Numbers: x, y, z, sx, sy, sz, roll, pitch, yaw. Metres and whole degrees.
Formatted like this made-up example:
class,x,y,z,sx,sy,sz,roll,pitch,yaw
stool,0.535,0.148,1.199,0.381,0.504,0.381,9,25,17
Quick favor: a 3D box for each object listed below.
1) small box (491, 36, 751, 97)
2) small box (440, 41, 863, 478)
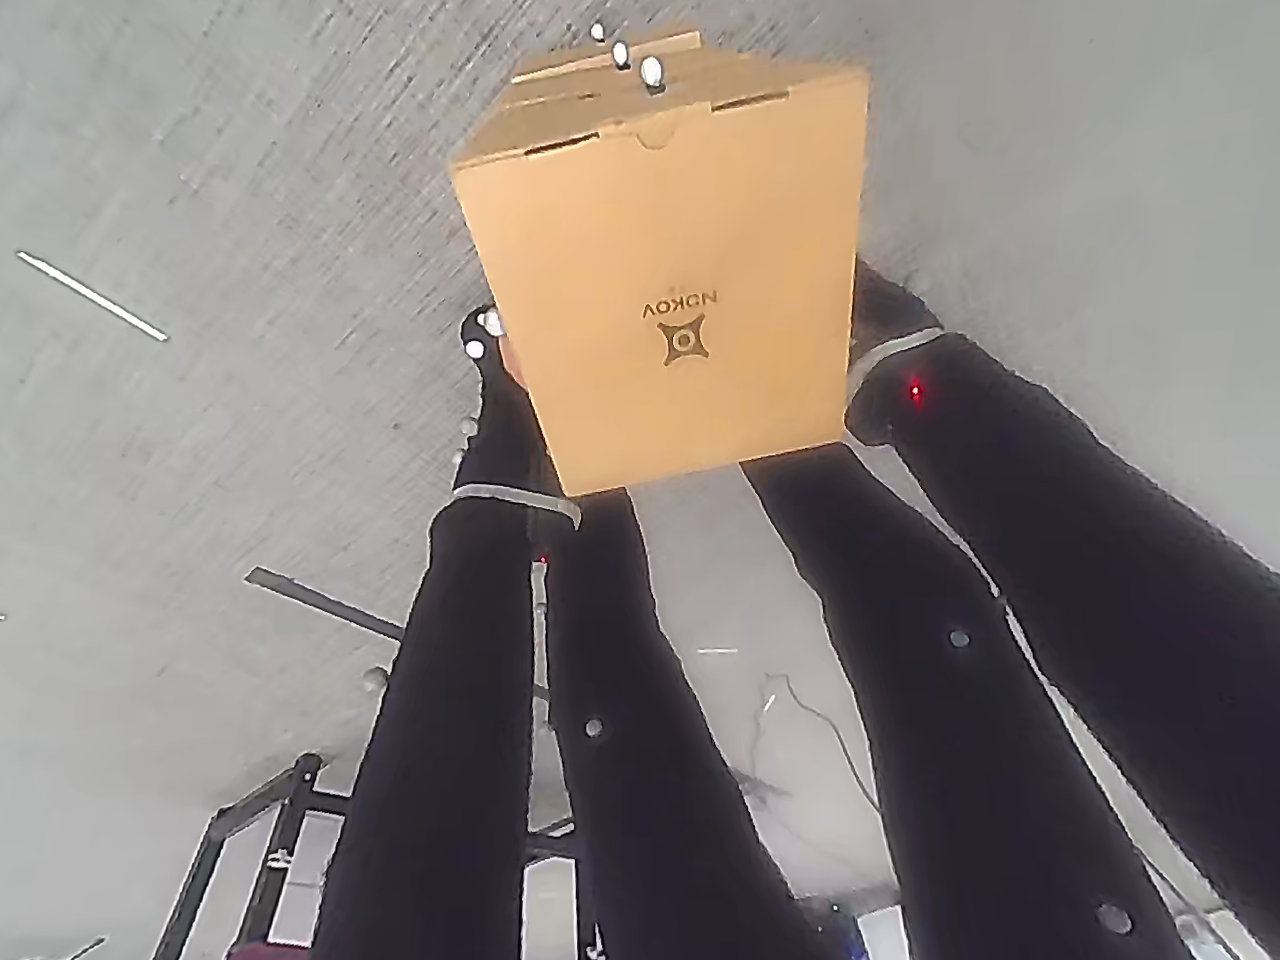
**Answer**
class,x,y,z,sx,sy,sz,roll,pitch,yaw
small box,-0.012,-0.239,0.439,0.168,0.176,0.179,-10,132,0
small box,0.008,-0.130,0.318,0.168,0.176,0.179,-11,131,1
